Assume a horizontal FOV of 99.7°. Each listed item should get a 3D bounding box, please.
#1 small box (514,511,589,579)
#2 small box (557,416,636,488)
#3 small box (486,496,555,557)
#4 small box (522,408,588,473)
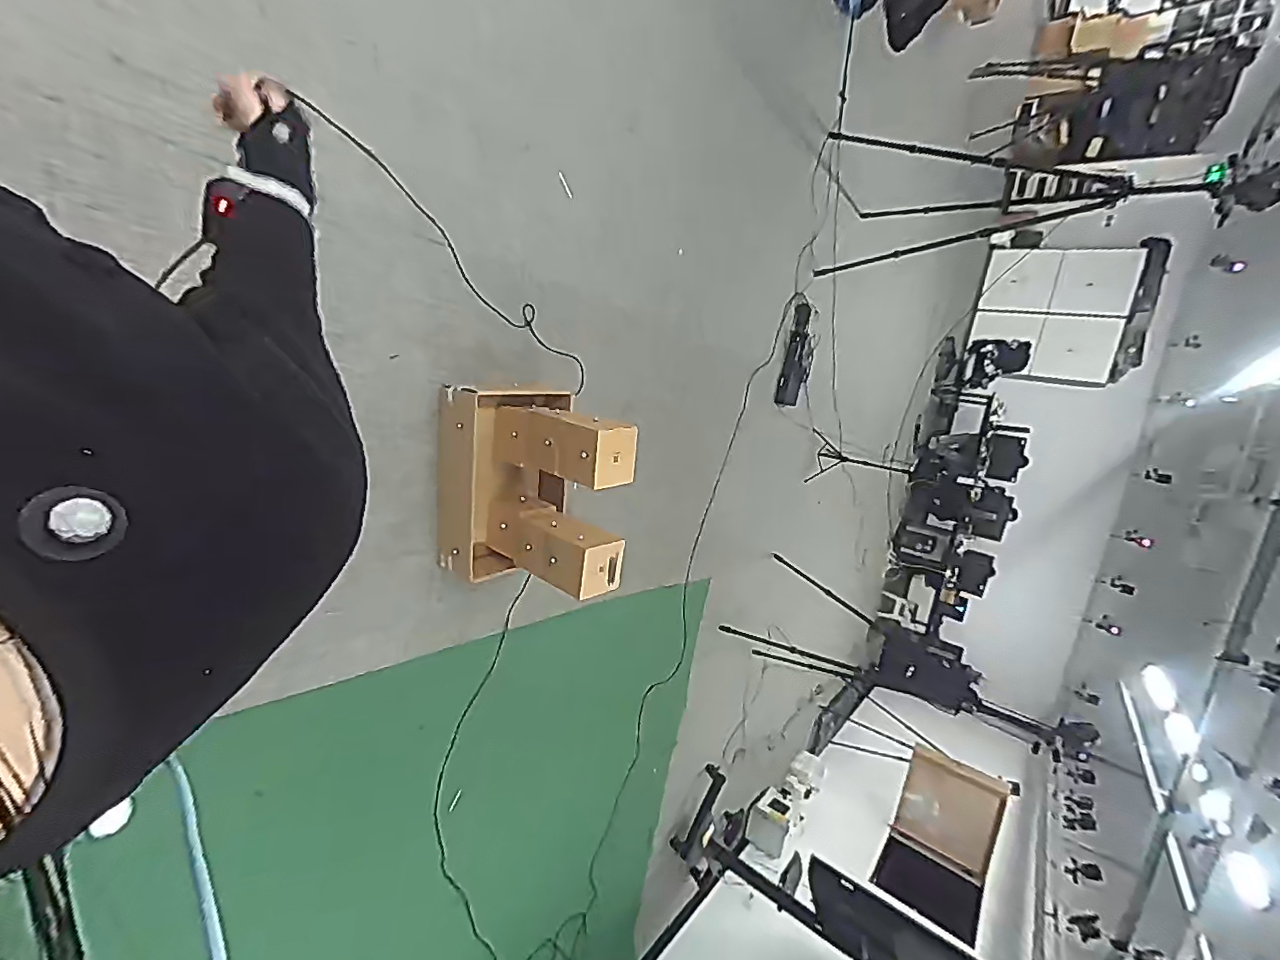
[{"bbox_3d":[-0.296,0.210,1.795,0.179,0.176,0.168,-7,109,-51],"label":"small box"},{"bbox_3d":[-0.134,-0.090,1.618,0.168,0.176,0.179,-12,112,-47],"label":"small box"},{"bbox_3d":[-0.420,0.157,1.892,0.168,0.176,0.179,-6,108,-51],"label":"small box"},{"bbox_3d":[-0.257,-0.129,1.717,0.168,0.176,0.179,-5,109,-50],"label":"small box"}]
